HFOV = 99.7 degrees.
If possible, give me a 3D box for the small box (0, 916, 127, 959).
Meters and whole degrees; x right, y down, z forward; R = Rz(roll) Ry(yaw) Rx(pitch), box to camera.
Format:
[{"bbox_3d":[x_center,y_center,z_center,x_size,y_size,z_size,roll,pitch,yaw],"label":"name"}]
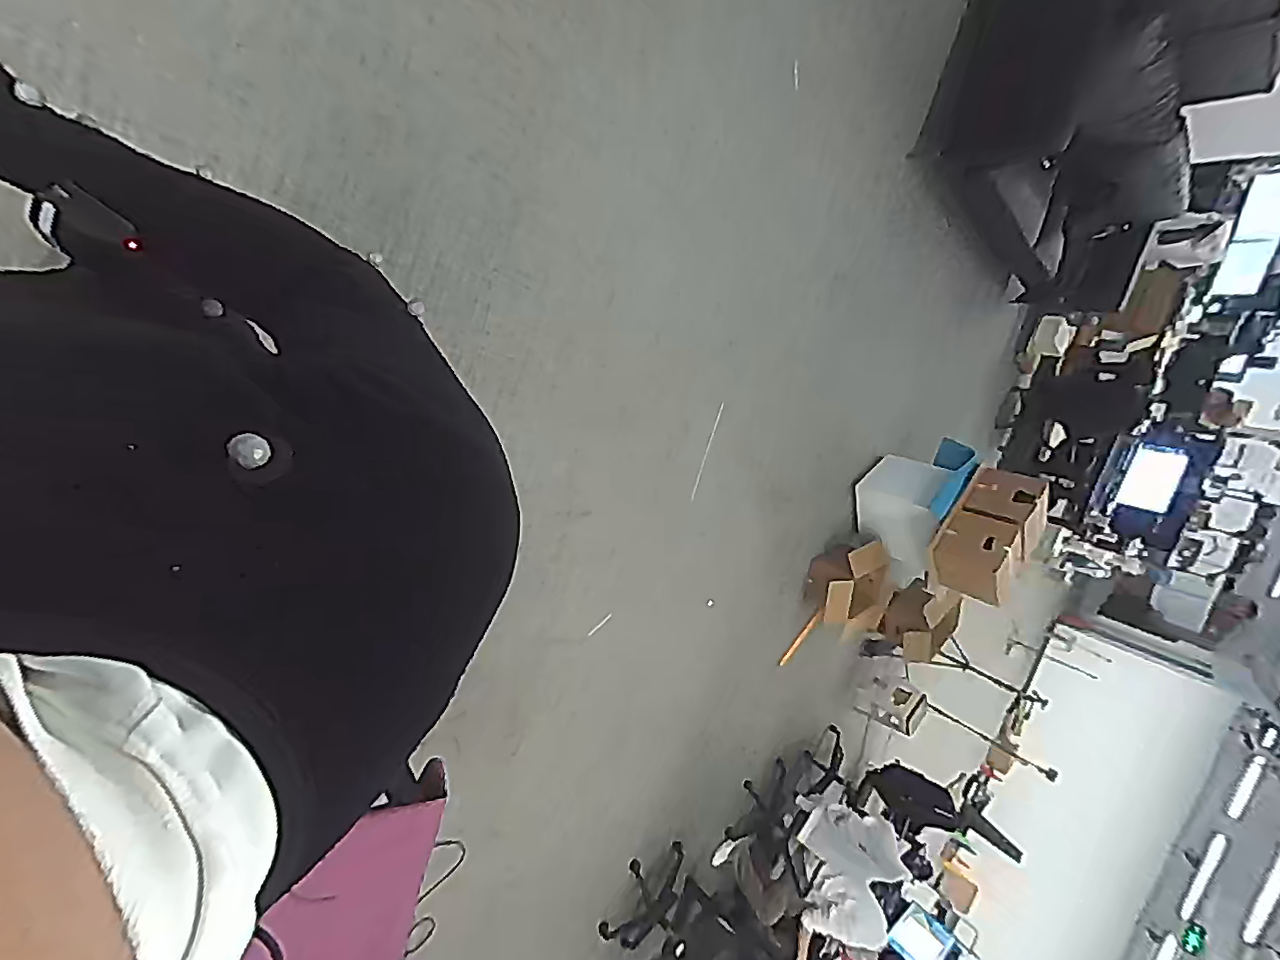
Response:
[{"bbox_3d":[-0.840,0.772,0.749,0.168,0.176,0.179,14,99,-45],"label":"small box"}]
